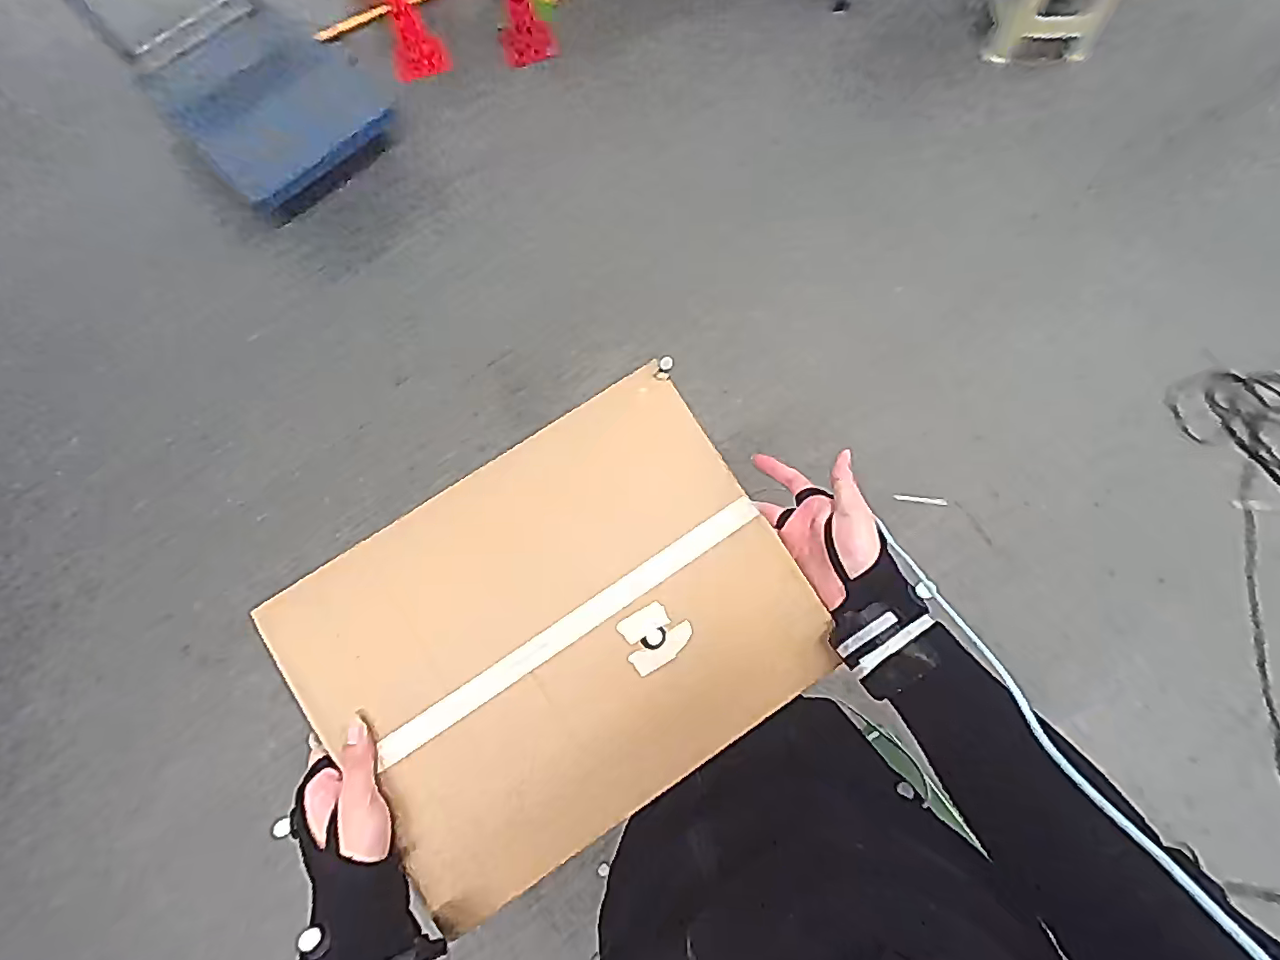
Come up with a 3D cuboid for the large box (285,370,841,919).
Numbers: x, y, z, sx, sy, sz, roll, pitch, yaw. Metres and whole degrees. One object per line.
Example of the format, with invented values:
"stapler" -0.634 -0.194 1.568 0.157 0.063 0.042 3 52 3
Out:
"large box" -0.071 0.148 0.621 0.408 0.320 0.320 -33 86 -6
